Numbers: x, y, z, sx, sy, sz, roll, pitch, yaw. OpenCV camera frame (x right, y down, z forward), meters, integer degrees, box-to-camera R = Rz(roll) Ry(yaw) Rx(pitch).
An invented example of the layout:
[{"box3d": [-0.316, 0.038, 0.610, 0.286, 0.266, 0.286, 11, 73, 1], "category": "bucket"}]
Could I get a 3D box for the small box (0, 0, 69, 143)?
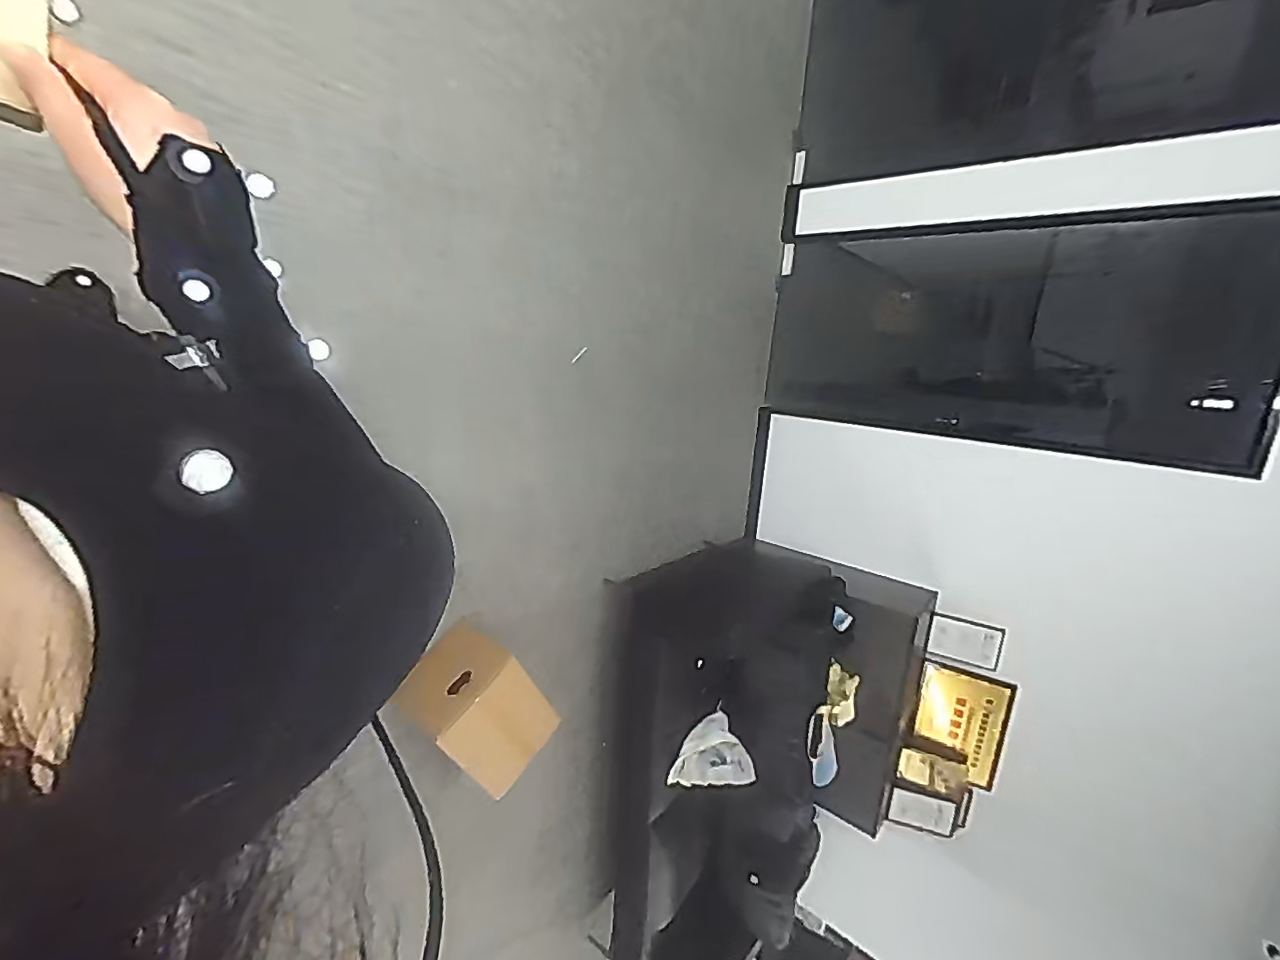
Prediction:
[{"box3d": [-0.436, -0.315, 0.298, 0.168, 0.176, 0.179, 0, 112, -48], "category": "small box"}]
